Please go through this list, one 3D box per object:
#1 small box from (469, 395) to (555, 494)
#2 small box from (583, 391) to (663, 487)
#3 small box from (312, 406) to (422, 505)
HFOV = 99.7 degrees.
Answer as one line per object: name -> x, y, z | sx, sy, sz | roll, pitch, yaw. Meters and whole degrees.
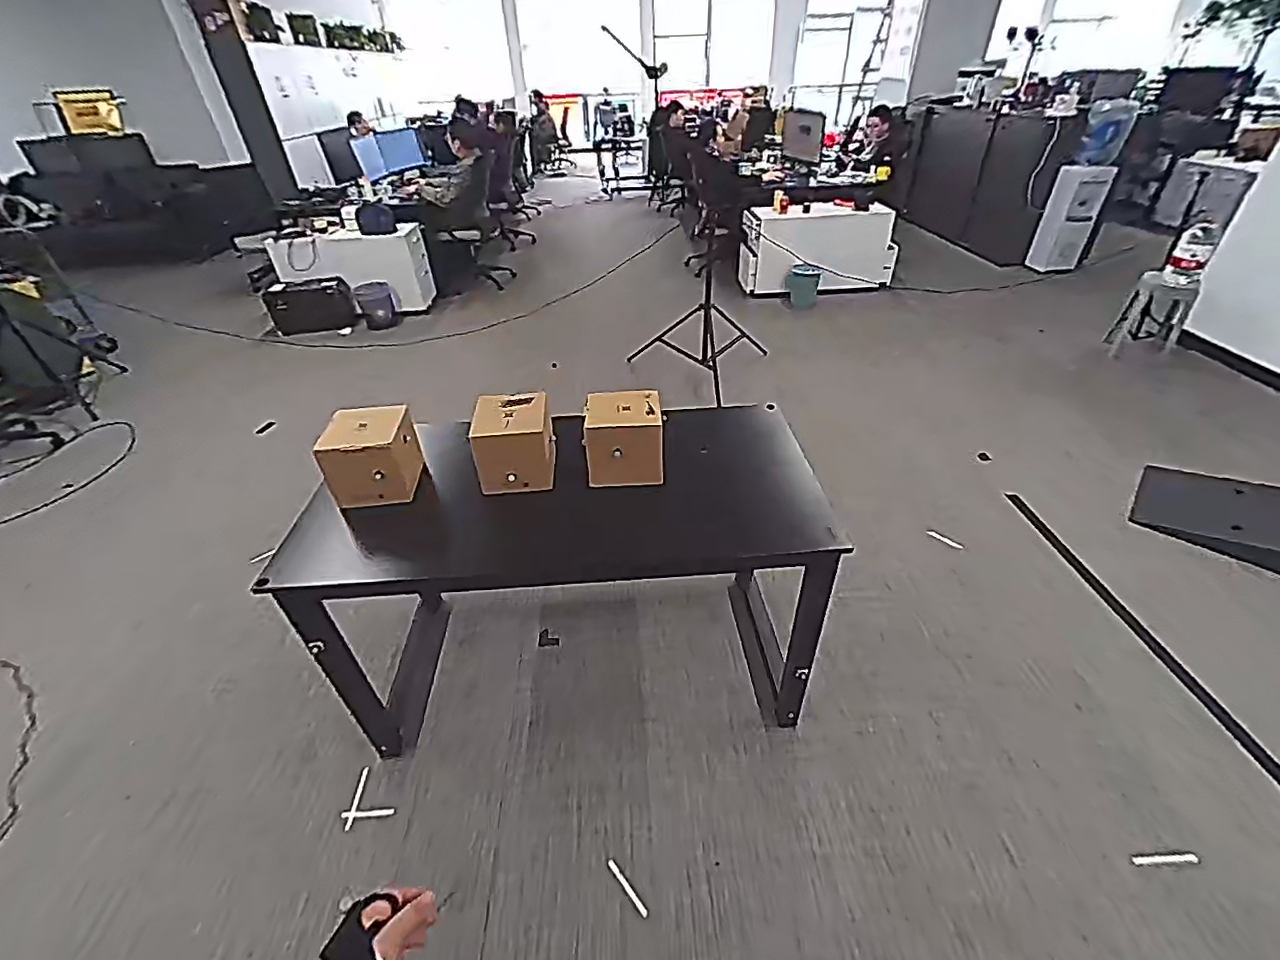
small box -> -0.298, -0.085, 1.294 | 0.168, 0.176, 0.179 | -5, 38, -3
small box -> -0.038, -0.096, 1.297 | 0.179, 0.176, 0.168 | -3, 37, 0
small box -> -0.628, -0.053, 1.269 | 0.168, 0.176, 0.179 | -5, 37, -6
